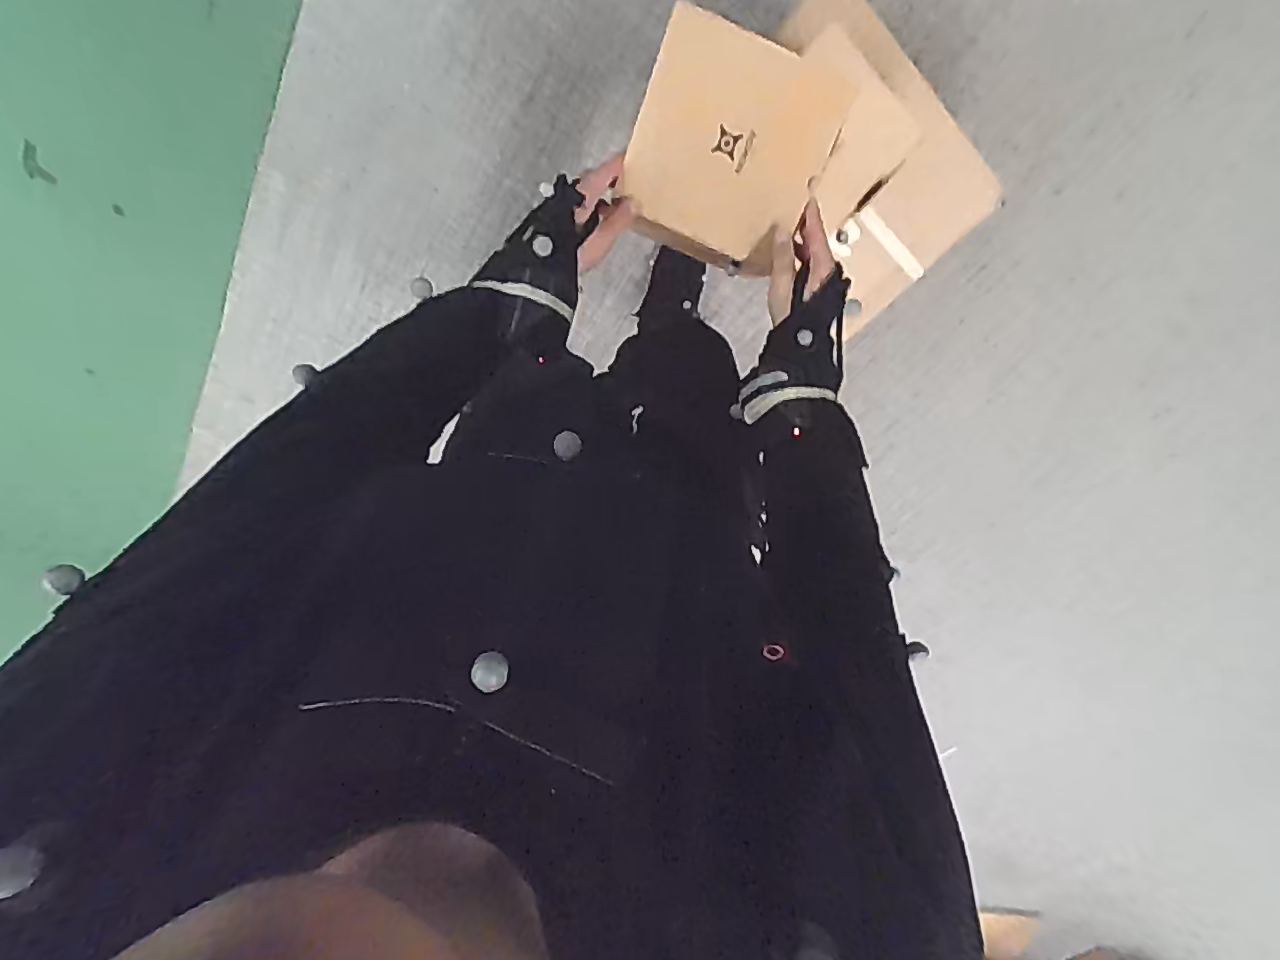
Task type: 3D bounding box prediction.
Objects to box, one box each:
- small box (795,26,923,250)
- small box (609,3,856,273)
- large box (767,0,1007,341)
[{"bbox_3d":[0.230,-0.440,0.722,0.179,0.176,0.168,40,115,-14],"label":"small box"},{"bbox_3d":[0.079,-0.322,0.556,0.179,0.176,0.168,19,108,-7],"label":"small box"},{"bbox_3d":[0.313,-0.523,0.945,0.408,0.320,0.320,40,117,-16],"label":"large box"}]
